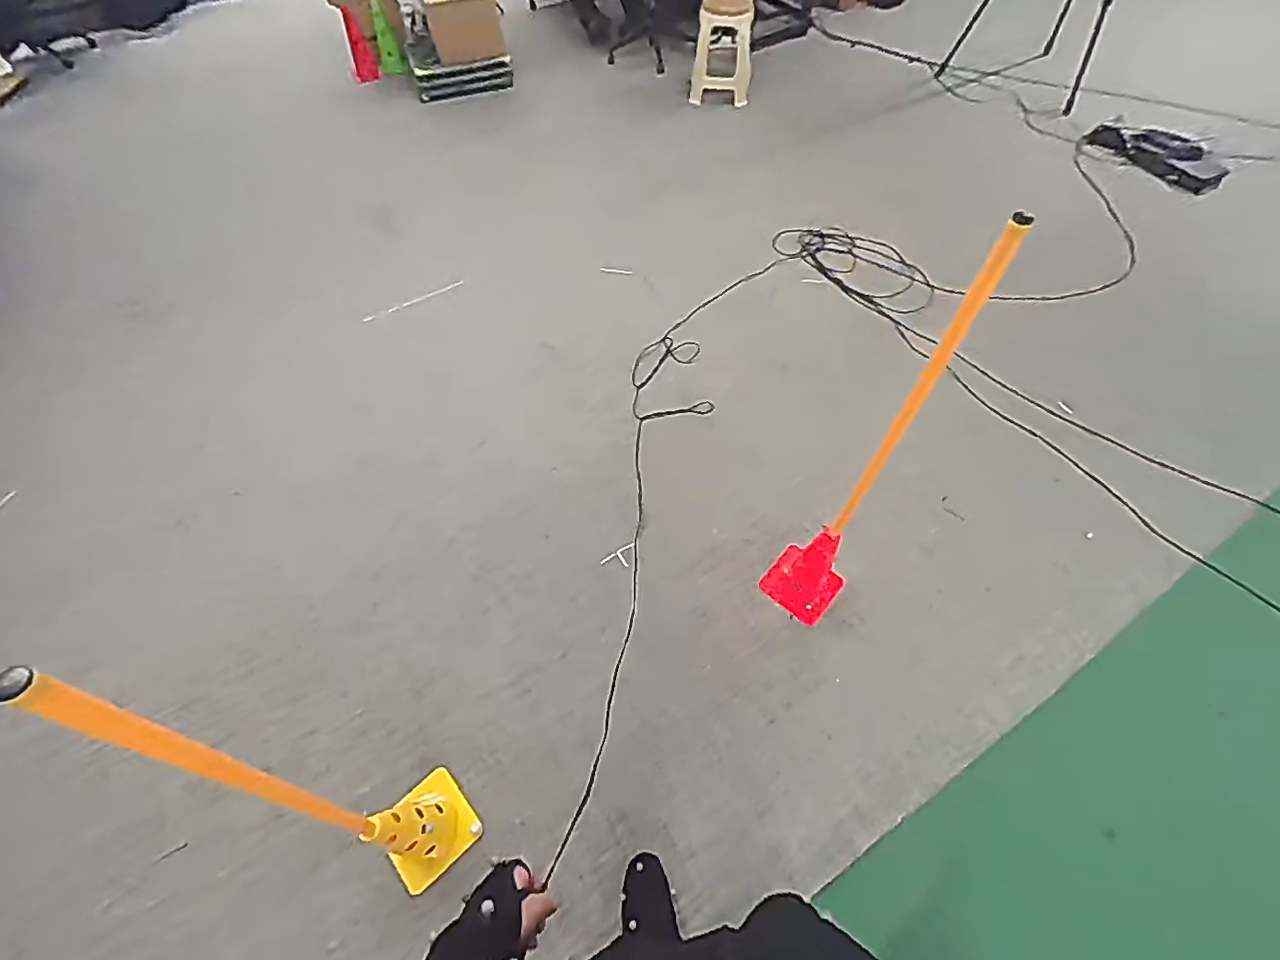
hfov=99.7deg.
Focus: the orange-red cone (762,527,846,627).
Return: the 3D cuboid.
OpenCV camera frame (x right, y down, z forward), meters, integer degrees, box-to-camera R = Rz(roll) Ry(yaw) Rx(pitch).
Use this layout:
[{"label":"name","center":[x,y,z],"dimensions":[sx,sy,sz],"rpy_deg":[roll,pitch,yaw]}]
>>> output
[{"label":"orange-red cone","center":[0.496,0.228,1.497],"dimensions":[0.198,0.360,0.199],"rpy_deg":[38,64,22]}]
